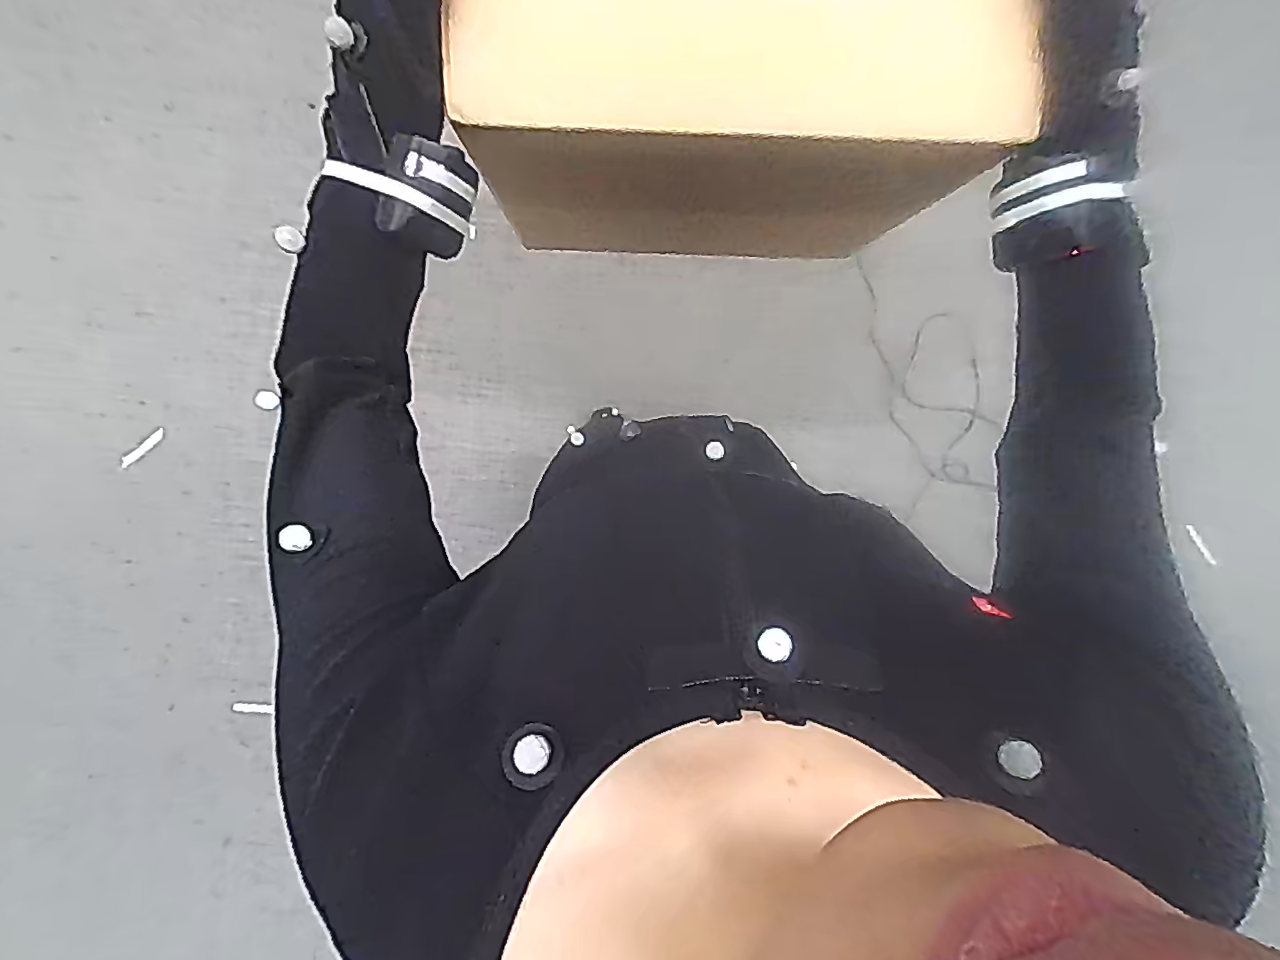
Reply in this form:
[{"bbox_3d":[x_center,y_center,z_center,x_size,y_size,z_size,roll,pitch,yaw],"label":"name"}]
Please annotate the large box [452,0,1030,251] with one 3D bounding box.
[{"bbox_3d":[0.063,-0.417,0.503,0.408,0.320,0.320,0,98,-3],"label":"large box"}]
